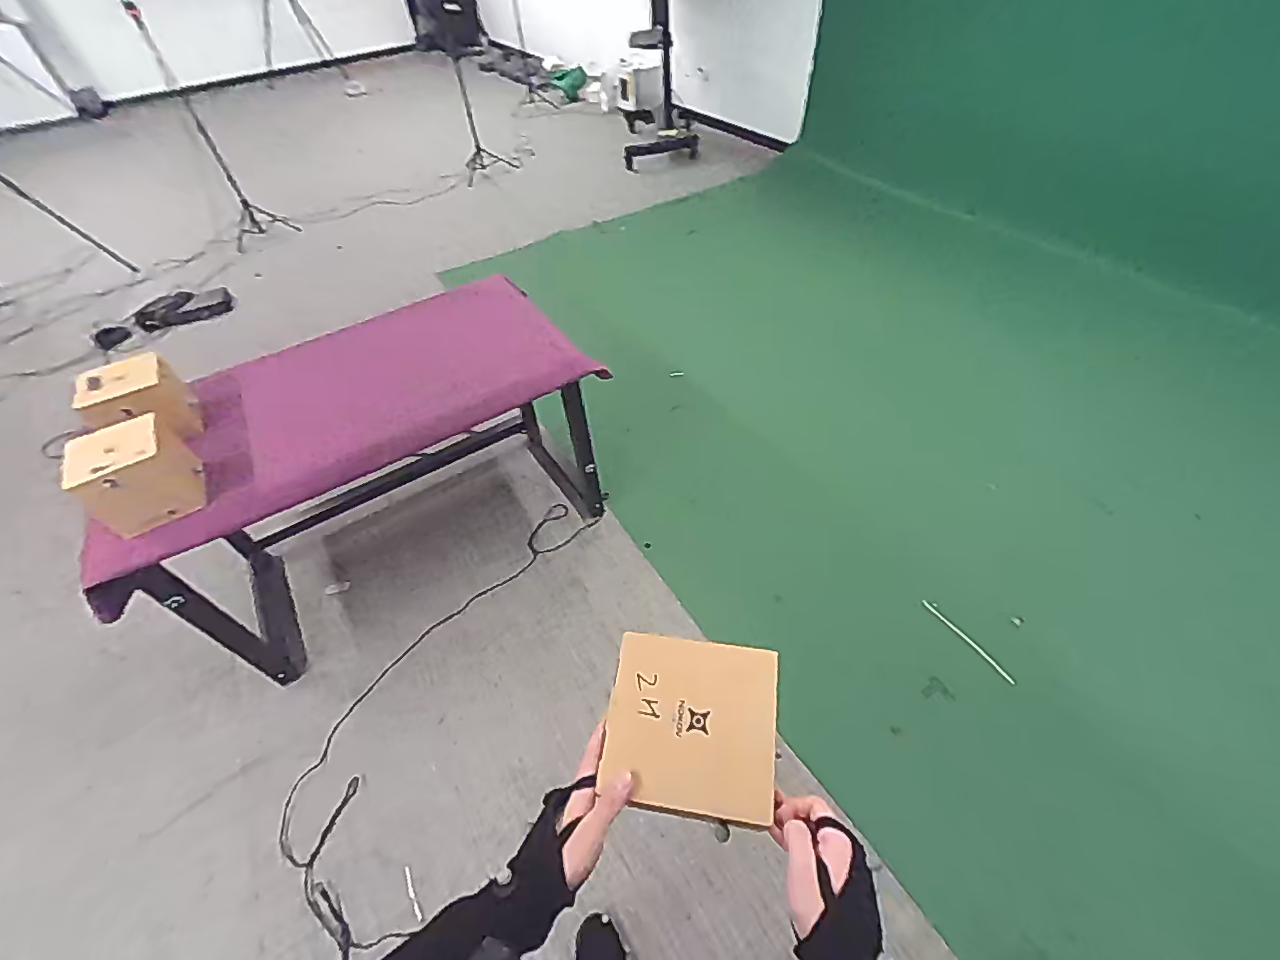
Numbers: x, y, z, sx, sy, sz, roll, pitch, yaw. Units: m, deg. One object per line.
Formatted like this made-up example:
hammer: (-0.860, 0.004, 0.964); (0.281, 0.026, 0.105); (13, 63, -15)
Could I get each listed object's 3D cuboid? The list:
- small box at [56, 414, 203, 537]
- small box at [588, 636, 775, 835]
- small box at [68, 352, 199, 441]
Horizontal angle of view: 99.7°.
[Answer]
small box: (-1.099, -0.008, 1.179); (0.168, 0.176, 0.179); (-29, 51, -20)
small box: (0.055, 0.293, 0.618); (0.179, 0.176, 0.168); (4, 56, 11)
small box: (-1.254, -0.186, 1.351); (0.179, 0.176, 0.168); (-27, 52, -19)
